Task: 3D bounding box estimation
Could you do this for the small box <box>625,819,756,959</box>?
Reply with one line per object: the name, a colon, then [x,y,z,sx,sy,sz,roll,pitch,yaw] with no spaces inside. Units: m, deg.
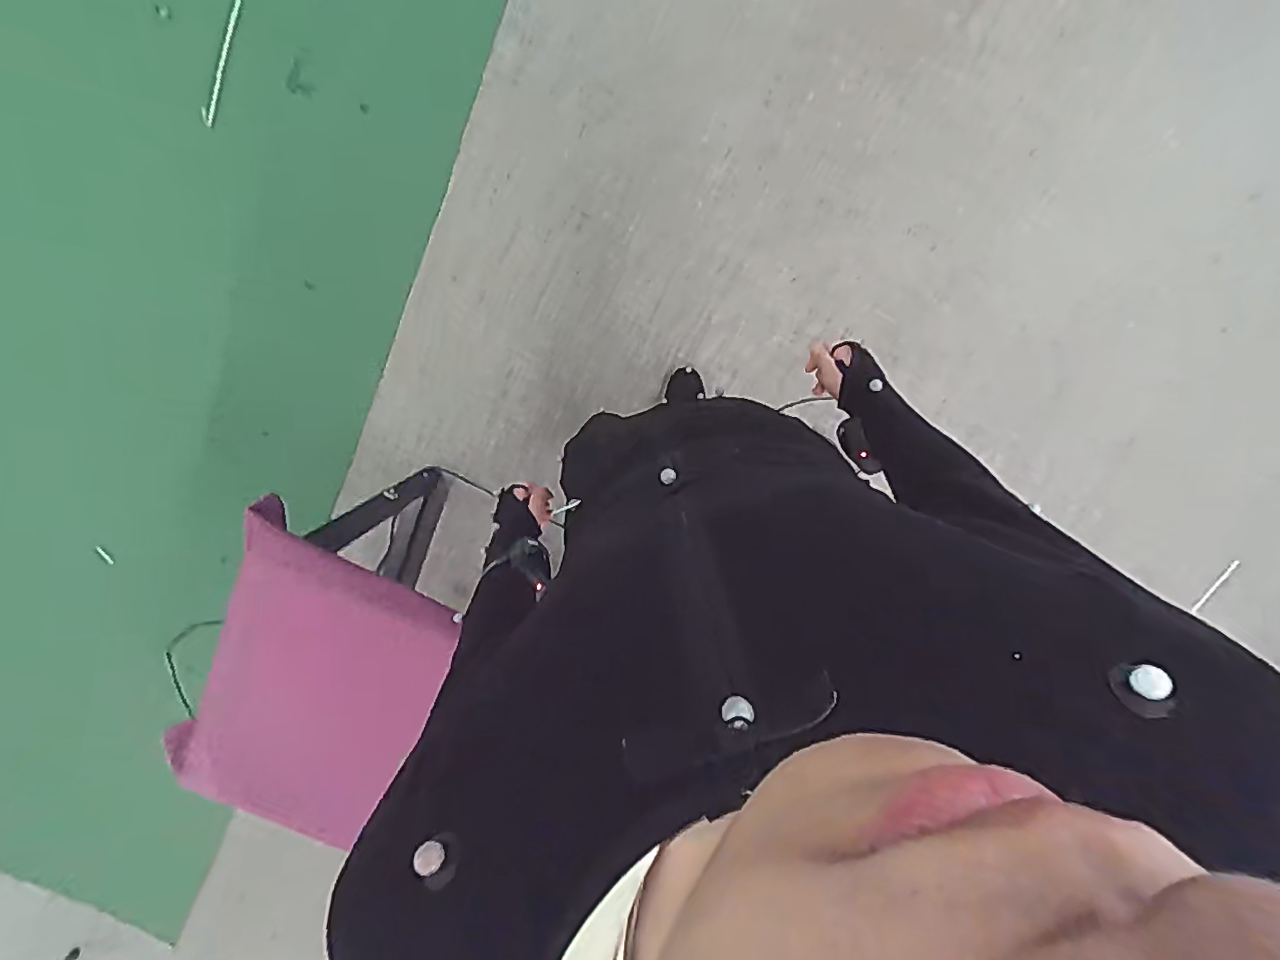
small box: [0.092,0.781,1.011,0.179,0.176,0.168,27,106,-3]
